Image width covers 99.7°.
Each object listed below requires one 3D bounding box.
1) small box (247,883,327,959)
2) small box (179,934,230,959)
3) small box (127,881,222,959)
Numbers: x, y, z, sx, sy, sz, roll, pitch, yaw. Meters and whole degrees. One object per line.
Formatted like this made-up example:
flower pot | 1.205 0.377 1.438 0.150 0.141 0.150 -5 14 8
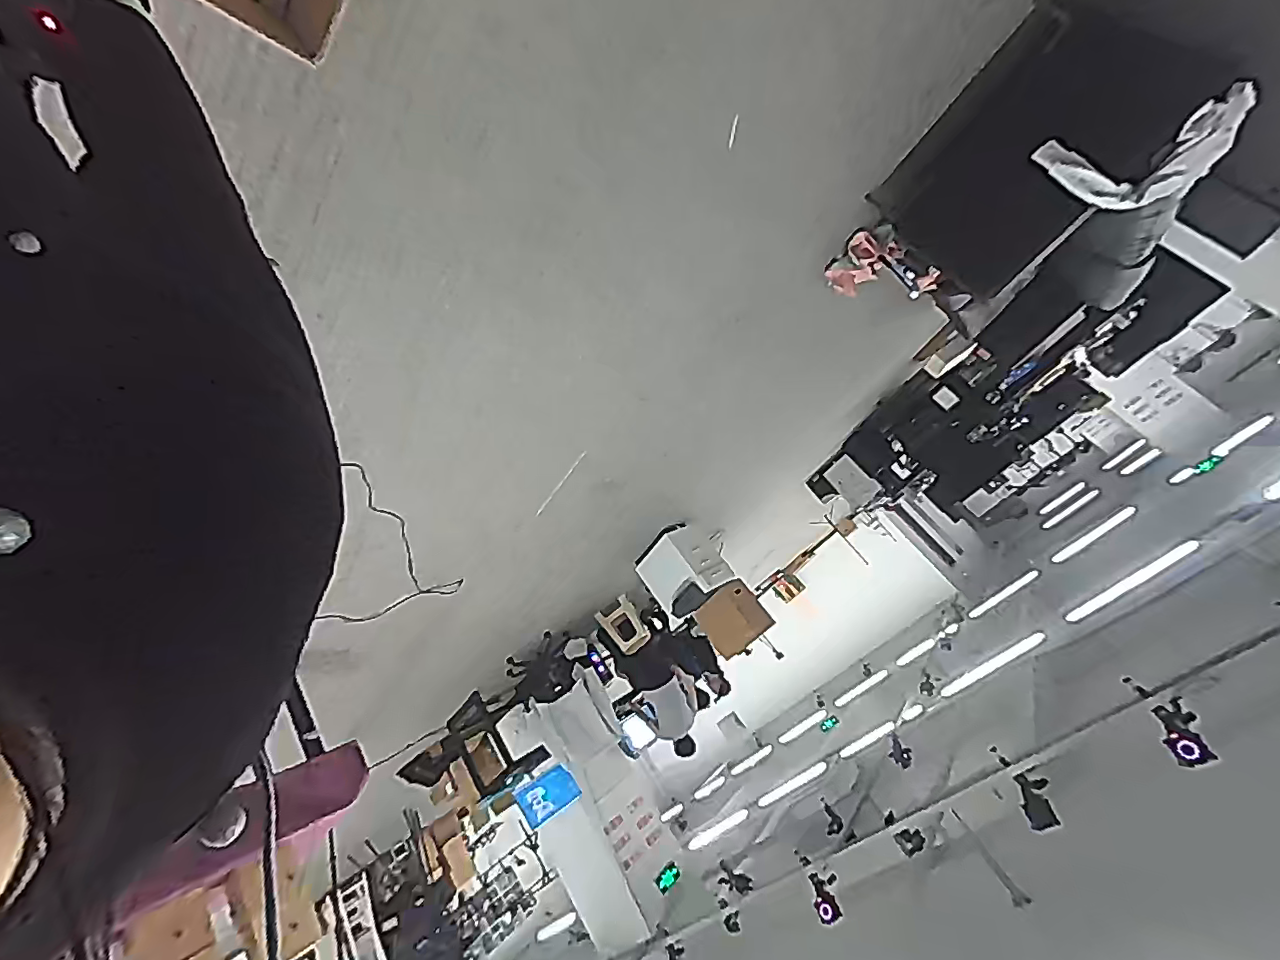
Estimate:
small box | -1.174 1.487 1.792 0.168 0.176 0.179 -7 145 -51
small box | -1.317 1.489 1.574 0.168 0.176 0.179 -48 156 26
small box | -1.411 1.370 1.638 0.179 0.176 0.168 -4 142 -54
